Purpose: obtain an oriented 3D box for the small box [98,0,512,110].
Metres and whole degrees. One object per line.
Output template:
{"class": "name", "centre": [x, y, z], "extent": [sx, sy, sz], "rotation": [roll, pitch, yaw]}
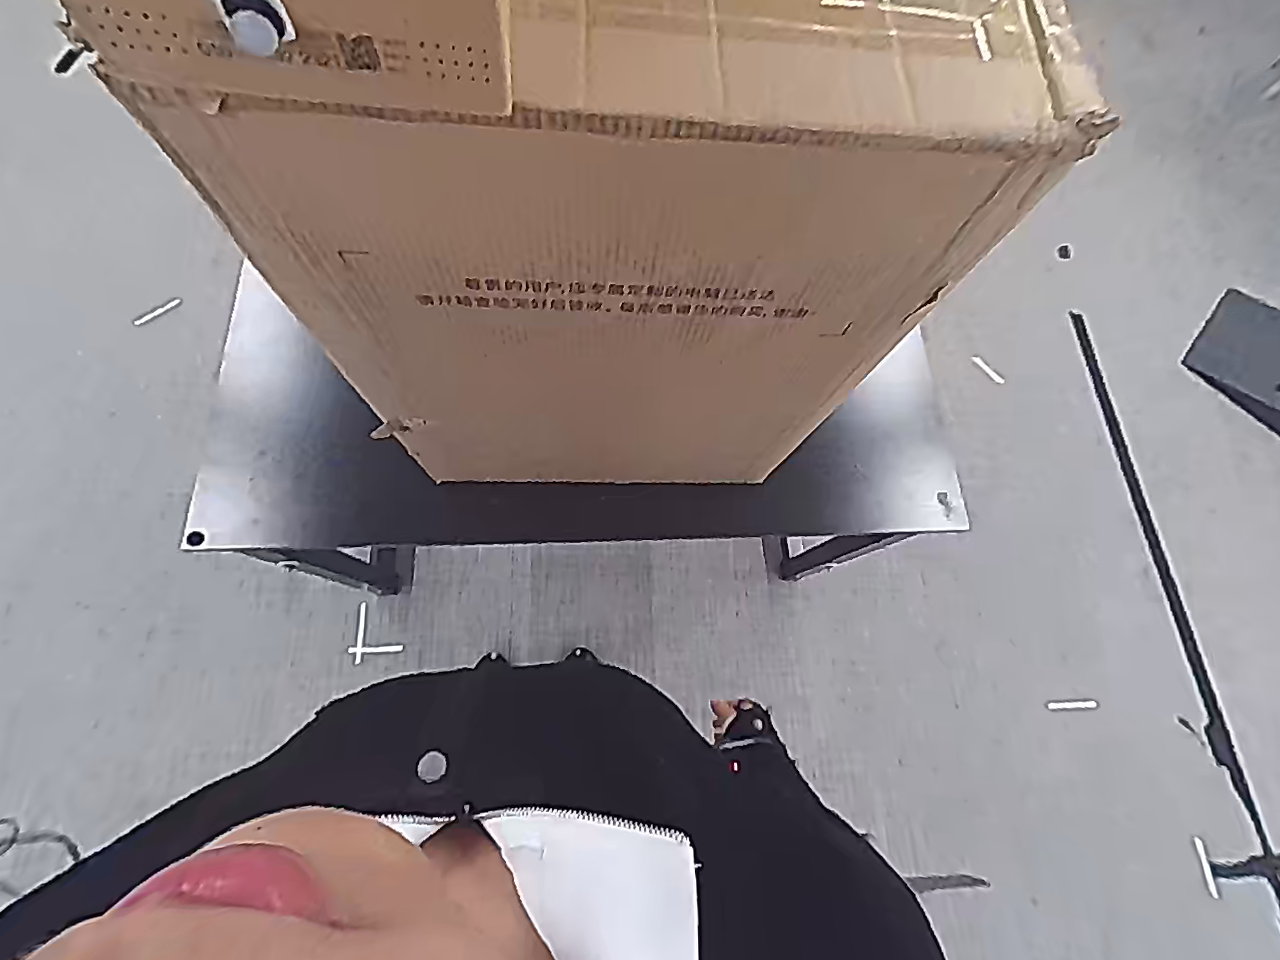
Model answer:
{"class": "small box", "centre": [-0.136, -0.279, 0.191], "extent": [0.168, 0.176, 0.179], "rotation": [-3, 74, -9]}
